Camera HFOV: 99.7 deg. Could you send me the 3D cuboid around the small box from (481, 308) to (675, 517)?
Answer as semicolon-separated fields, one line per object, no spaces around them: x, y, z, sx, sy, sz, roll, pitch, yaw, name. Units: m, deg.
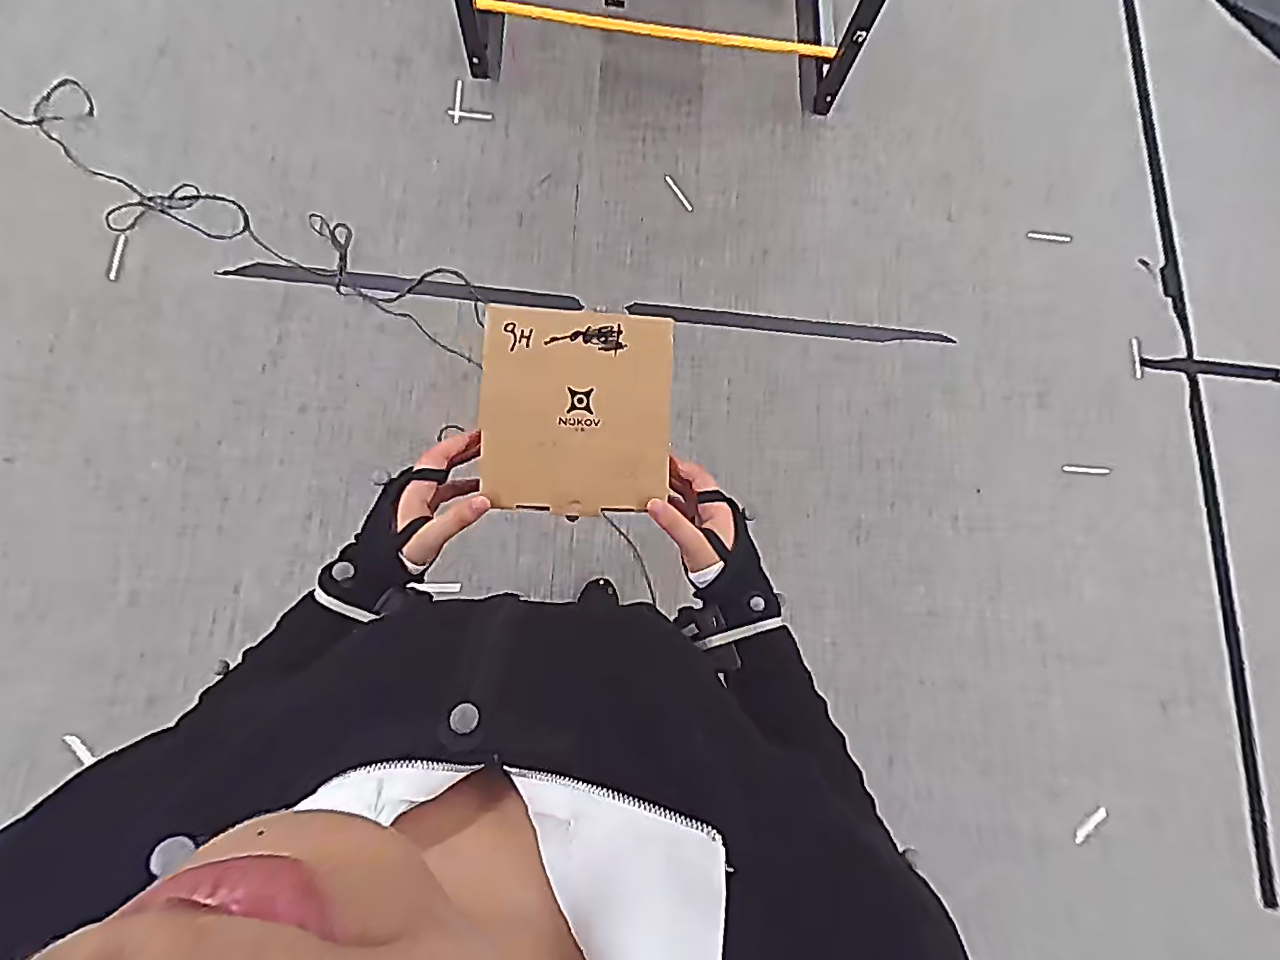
-0.062;-0.059;0.548;0.168;0.176;0.179;1;91;-8;small box
